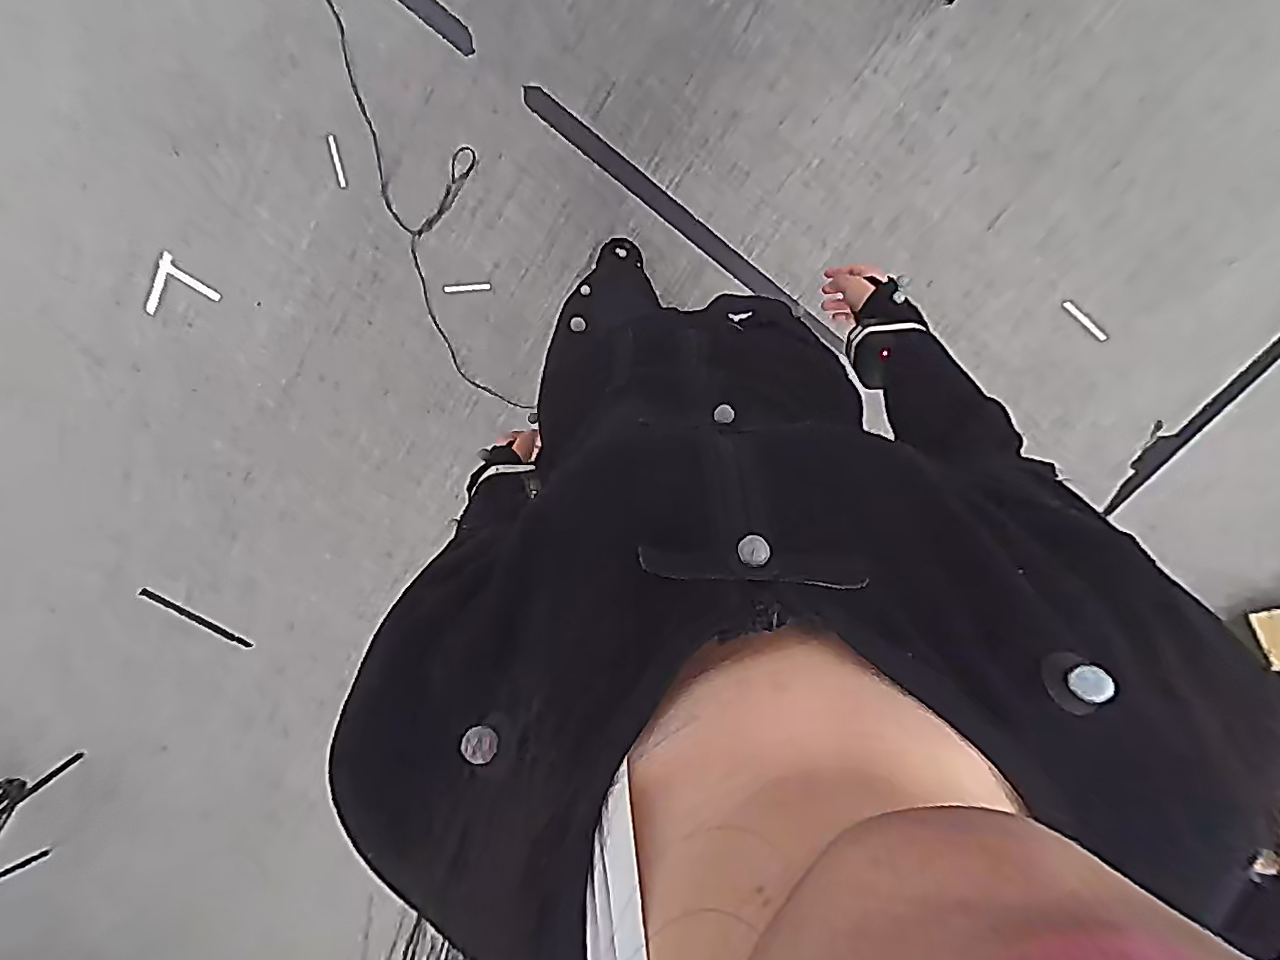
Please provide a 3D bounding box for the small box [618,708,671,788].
[{"bbox_3d":[0.016,0.869,1.763,0.168,0.176,0.179,-1,111,3],"label":"small box"}]
